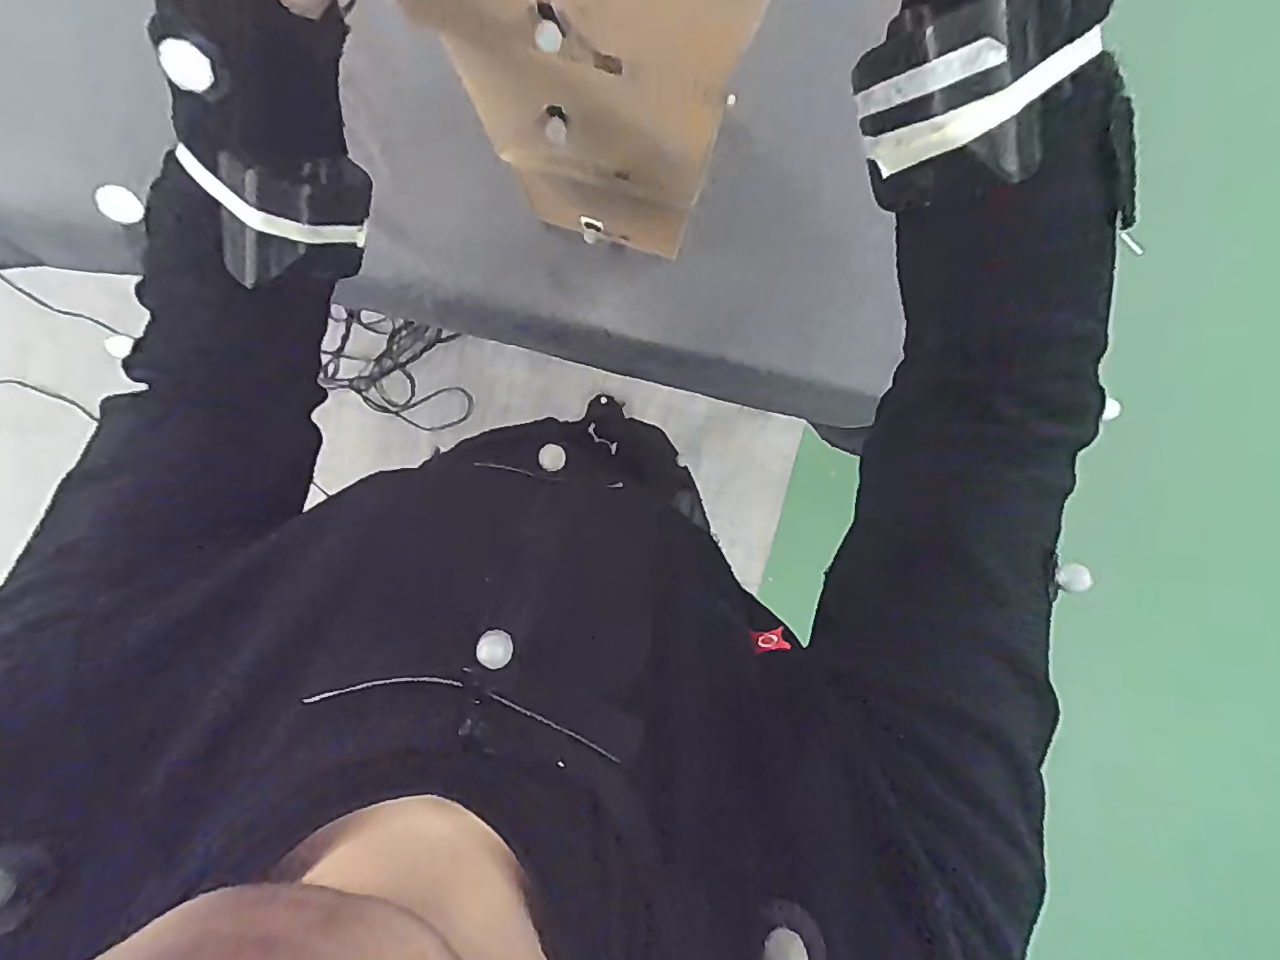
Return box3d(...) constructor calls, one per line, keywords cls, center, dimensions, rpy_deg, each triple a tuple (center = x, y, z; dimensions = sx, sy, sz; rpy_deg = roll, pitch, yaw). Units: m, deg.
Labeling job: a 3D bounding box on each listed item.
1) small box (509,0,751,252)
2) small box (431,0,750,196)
box3d(cls="small box", center=(-0.011, -0.345, 0.514), dimensions=(0.168, 0.176, 0.179), rpy_deg=(14, 97, -3))
box3d(cls="small box", center=(-0.012, -0.319, 0.353), dimensions=(0.168, 0.176, 0.179), rpy_deg=(13, 96, -2))
